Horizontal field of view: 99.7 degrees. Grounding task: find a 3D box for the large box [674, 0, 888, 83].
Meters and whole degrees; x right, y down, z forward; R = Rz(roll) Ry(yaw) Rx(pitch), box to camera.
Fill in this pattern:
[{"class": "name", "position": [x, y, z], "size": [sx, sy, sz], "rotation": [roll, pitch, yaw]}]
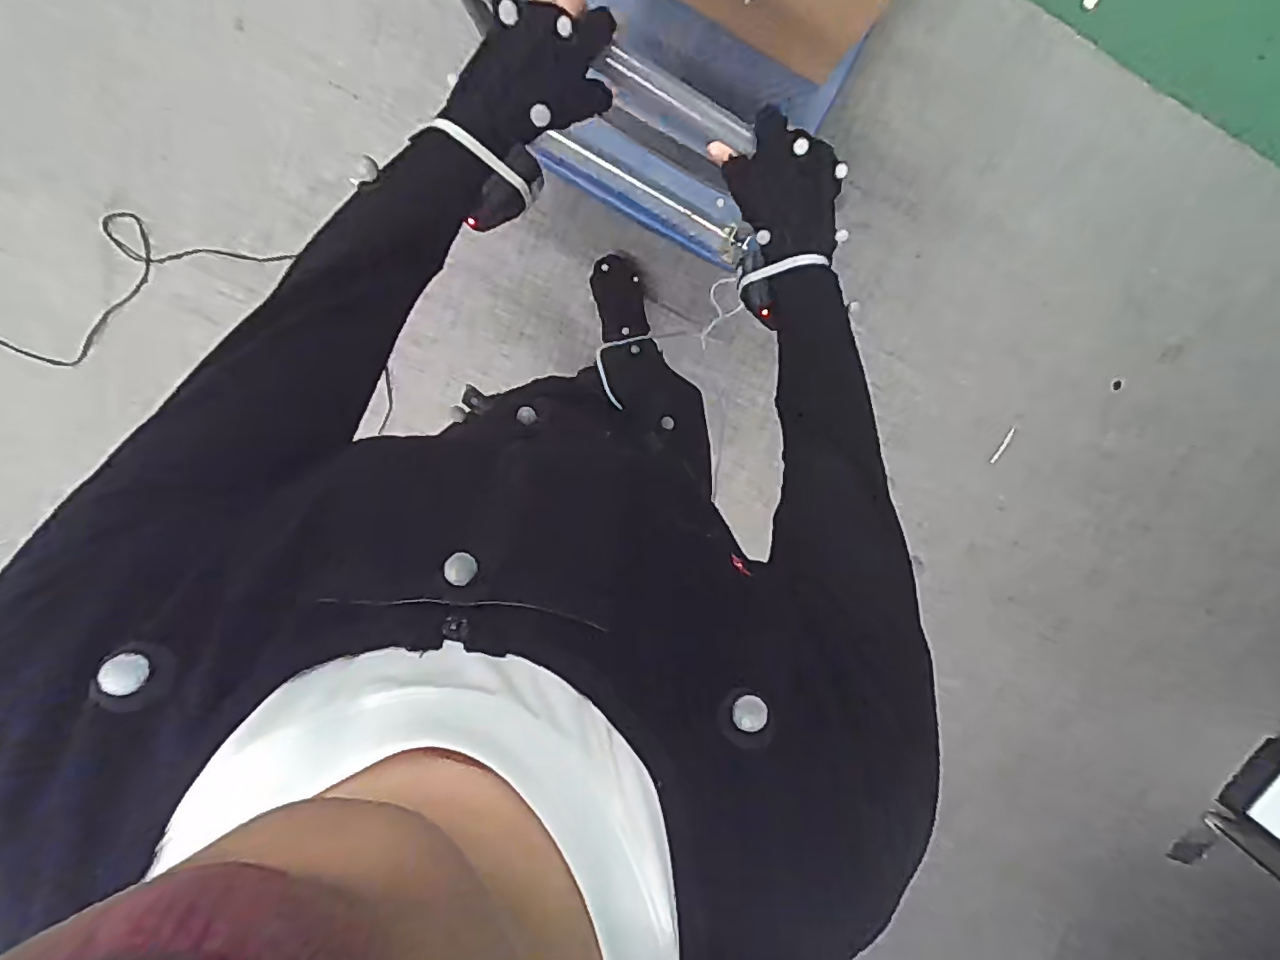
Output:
[{"class": "large box", "position": [0.253, -0.963, 0.886], "size": [0.408, 0.320, 0.320], "rotation": [25, 103, -8]}]
